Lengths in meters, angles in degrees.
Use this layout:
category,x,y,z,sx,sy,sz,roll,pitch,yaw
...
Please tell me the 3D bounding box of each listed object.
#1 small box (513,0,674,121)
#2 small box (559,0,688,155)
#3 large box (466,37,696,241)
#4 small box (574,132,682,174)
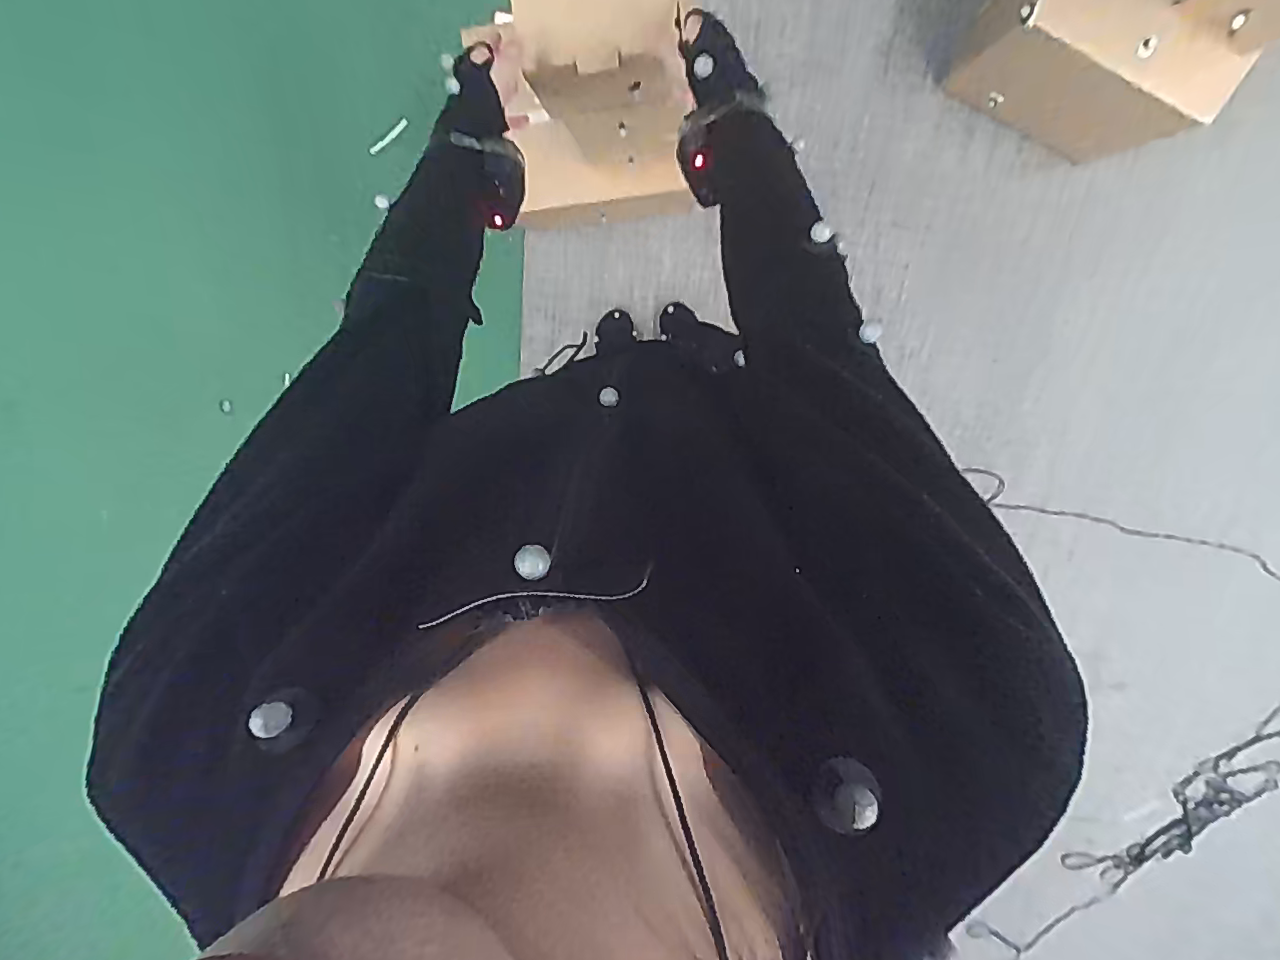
category,x,y,z,sx,sy,sz,roll,pitch,yaw
small box,-0.047,-0.536,0.620,0.168,0.176,0.179,-4,107,4
small box,-0.027,-0.587,0.774,0.179,0.176,0.168,-5,108,5
large box,-0.099,-0.722,1.164,0.408,0.320,0.320,-6,106,5
small box,-0.022,-0.639,0.930,0.179,0.176,0.168,-2,107,2
